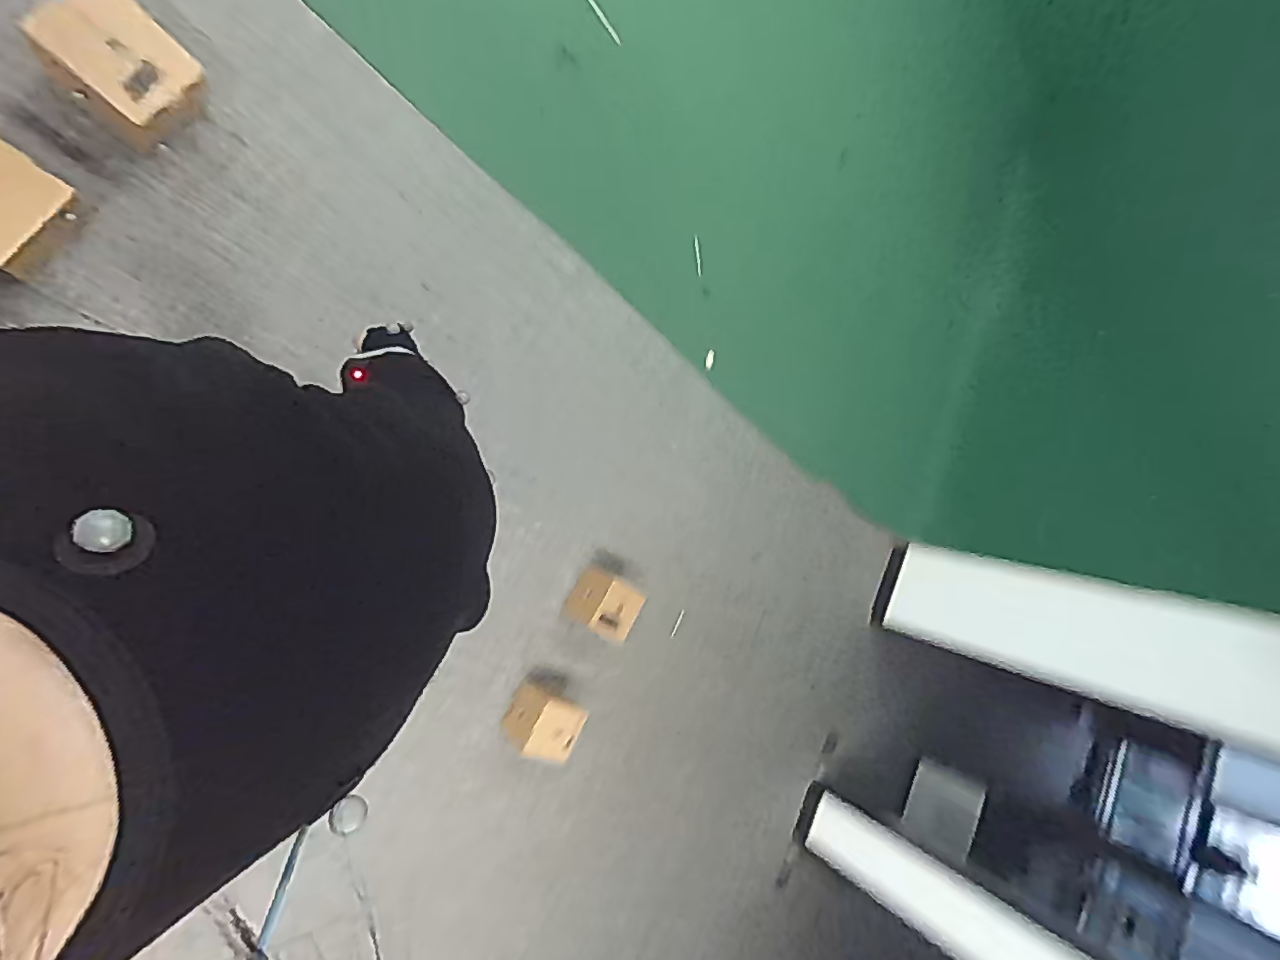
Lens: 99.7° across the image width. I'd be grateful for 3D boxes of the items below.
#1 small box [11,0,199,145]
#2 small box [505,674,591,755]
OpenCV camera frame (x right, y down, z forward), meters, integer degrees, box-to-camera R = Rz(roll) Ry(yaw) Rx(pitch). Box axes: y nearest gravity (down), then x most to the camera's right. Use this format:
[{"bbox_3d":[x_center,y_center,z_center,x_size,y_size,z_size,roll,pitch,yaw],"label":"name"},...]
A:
[{"bbox_3d":[-0.946,-0.748,0.981,0.179,0.176,0.168,43,71,-34],"label":"small box"},{"bbox_3d":[-0.297,0.739,1.716,0.179,0.176,0.168,36,76,-35],"label":"small box"}]
